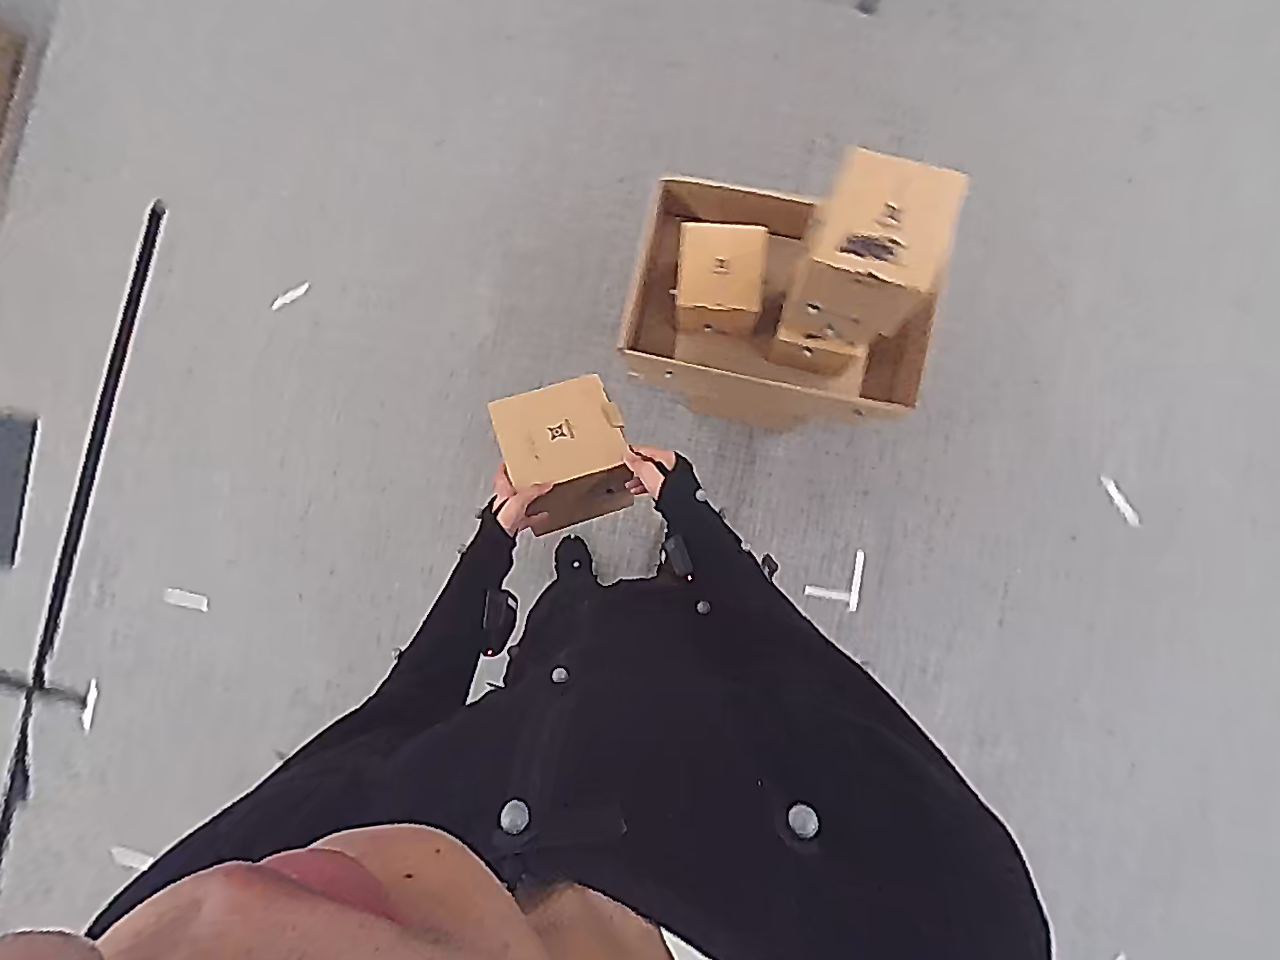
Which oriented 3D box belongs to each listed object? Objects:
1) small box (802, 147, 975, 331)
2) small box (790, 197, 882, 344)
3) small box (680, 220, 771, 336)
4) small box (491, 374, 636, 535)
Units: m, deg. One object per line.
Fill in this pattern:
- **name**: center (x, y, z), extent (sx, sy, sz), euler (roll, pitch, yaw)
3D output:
- **small box**: center (0.356, -0.348, 0.813), extent (0.168, 0.176, 0.179), euler (20, 88, 7)
- **small box**: center (0.380, -0.370, 0.978), extent (0.168, 0.176, 0.179), euler (15, 88, 7)
- **small box**: center (0.176, -0.425, 1.158), extent (0.168, 0.176, 0.179), euler (5, 88, 3)
- **small box**: center (-0.116, -0.035, 0.851), extent (0.179, 0.176, 0.168), euler (-18, 66, -10)
